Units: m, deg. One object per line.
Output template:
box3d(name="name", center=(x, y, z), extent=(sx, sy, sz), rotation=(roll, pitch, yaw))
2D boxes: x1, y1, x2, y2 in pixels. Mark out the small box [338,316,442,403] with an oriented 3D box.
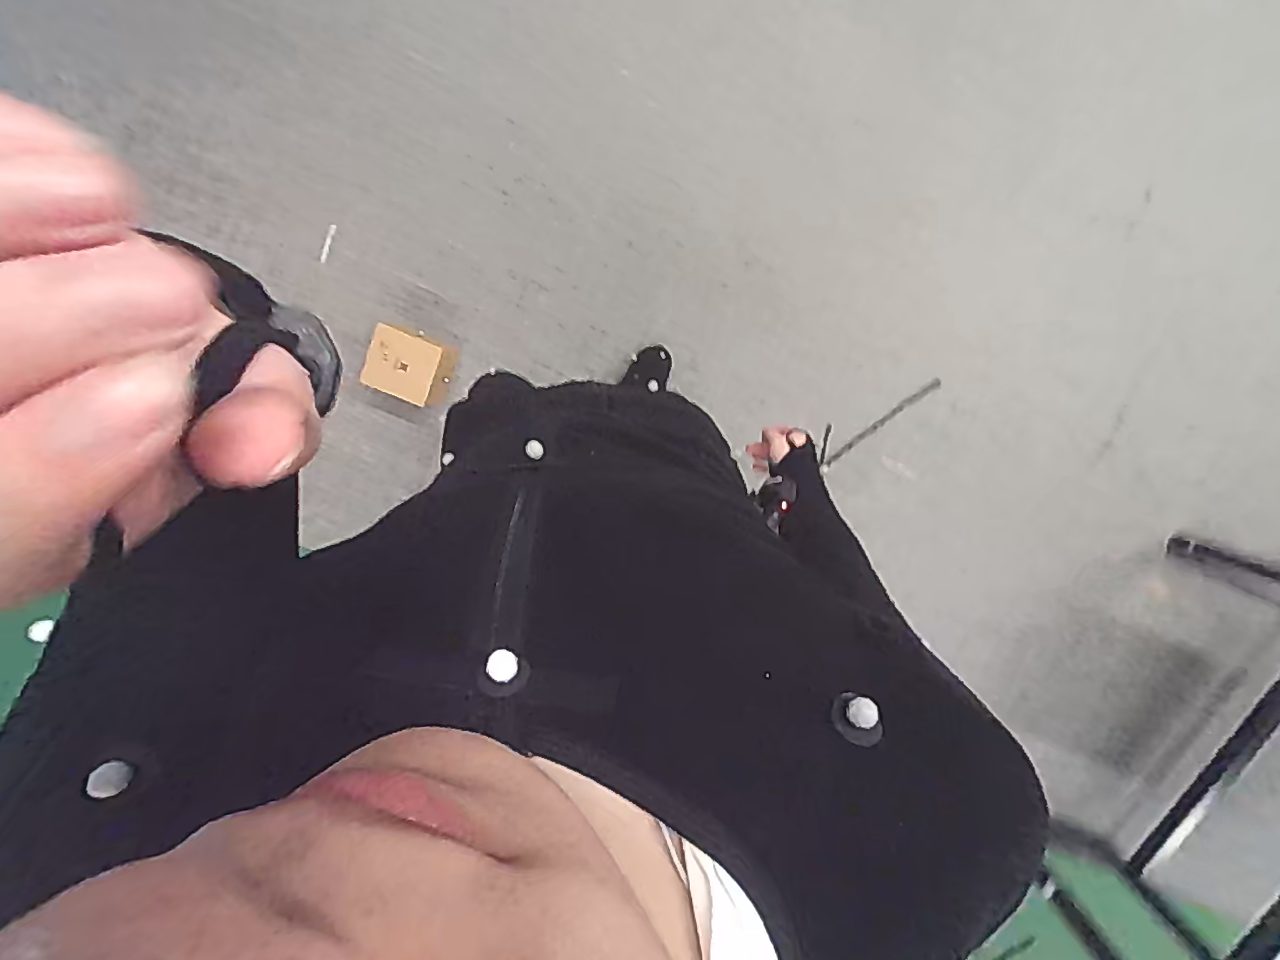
box3d(name="small box", center=(-0.652, -0.322, 1.432), extent=(0.179, 0.176, 0.168), rotation=(24, 102, -8))
